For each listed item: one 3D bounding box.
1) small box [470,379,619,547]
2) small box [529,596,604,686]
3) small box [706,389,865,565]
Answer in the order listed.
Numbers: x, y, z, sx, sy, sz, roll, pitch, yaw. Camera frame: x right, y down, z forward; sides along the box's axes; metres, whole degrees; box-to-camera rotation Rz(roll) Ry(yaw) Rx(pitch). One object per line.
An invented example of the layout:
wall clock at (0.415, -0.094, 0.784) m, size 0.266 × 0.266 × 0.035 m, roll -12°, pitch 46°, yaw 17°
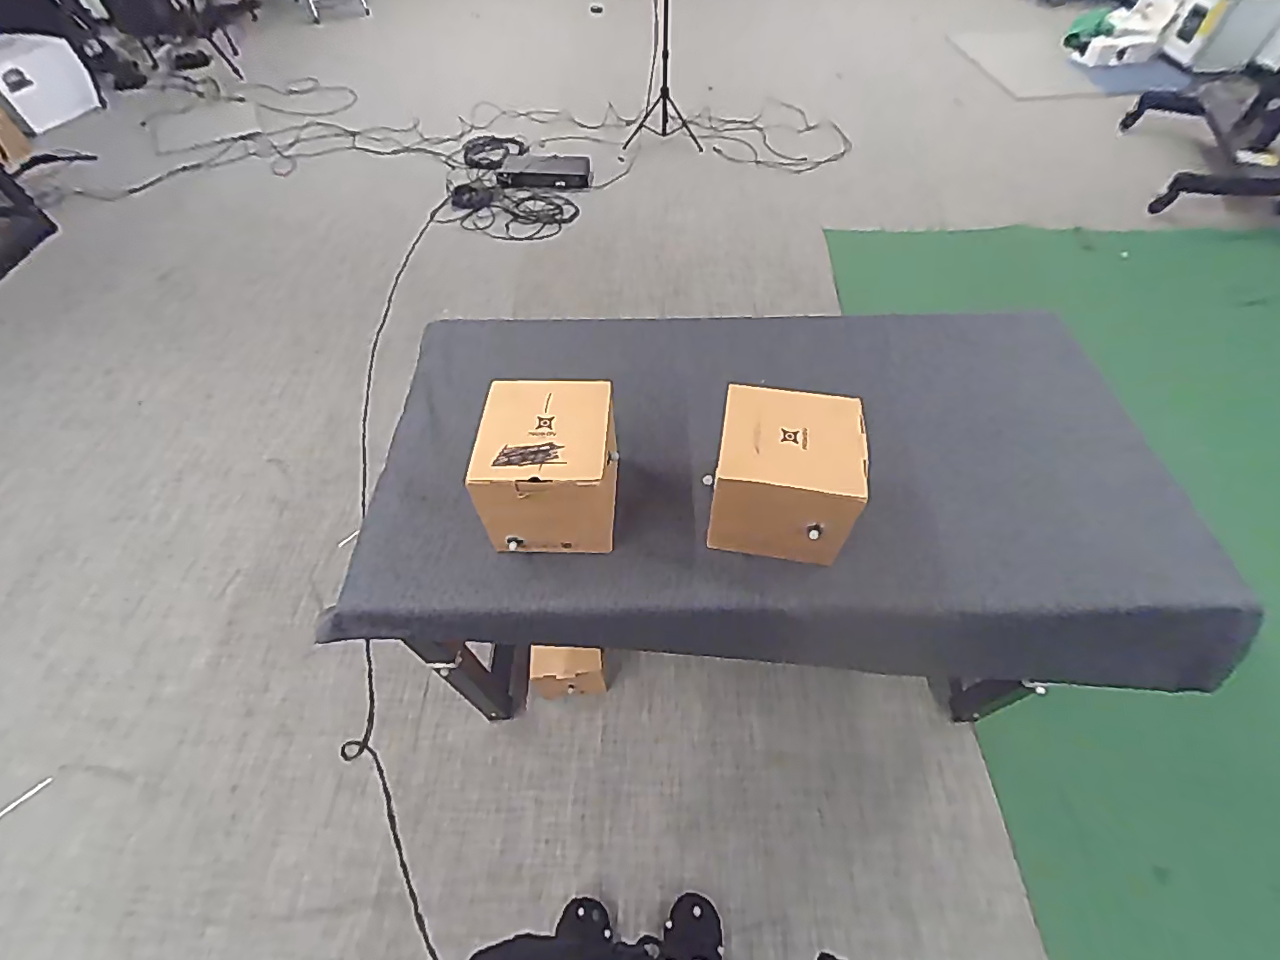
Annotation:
small box at (-0.119, -0.019, 0.757) m, size 0.168 × 0.176 × 0.179 m, roll 2°, pitch 53°, yaw 2°
small box at (-0.178, 0.408, 1.352) m, size 0.168 × 0.176 × 0.179 m, roll -3°, pitch 55°, yaw -2°
small box at (0.193, 0.000, 0.744) m, size 0.179 × 0.176 × 0.168 m, roll 8°, pitch 54°, yaw 8°
